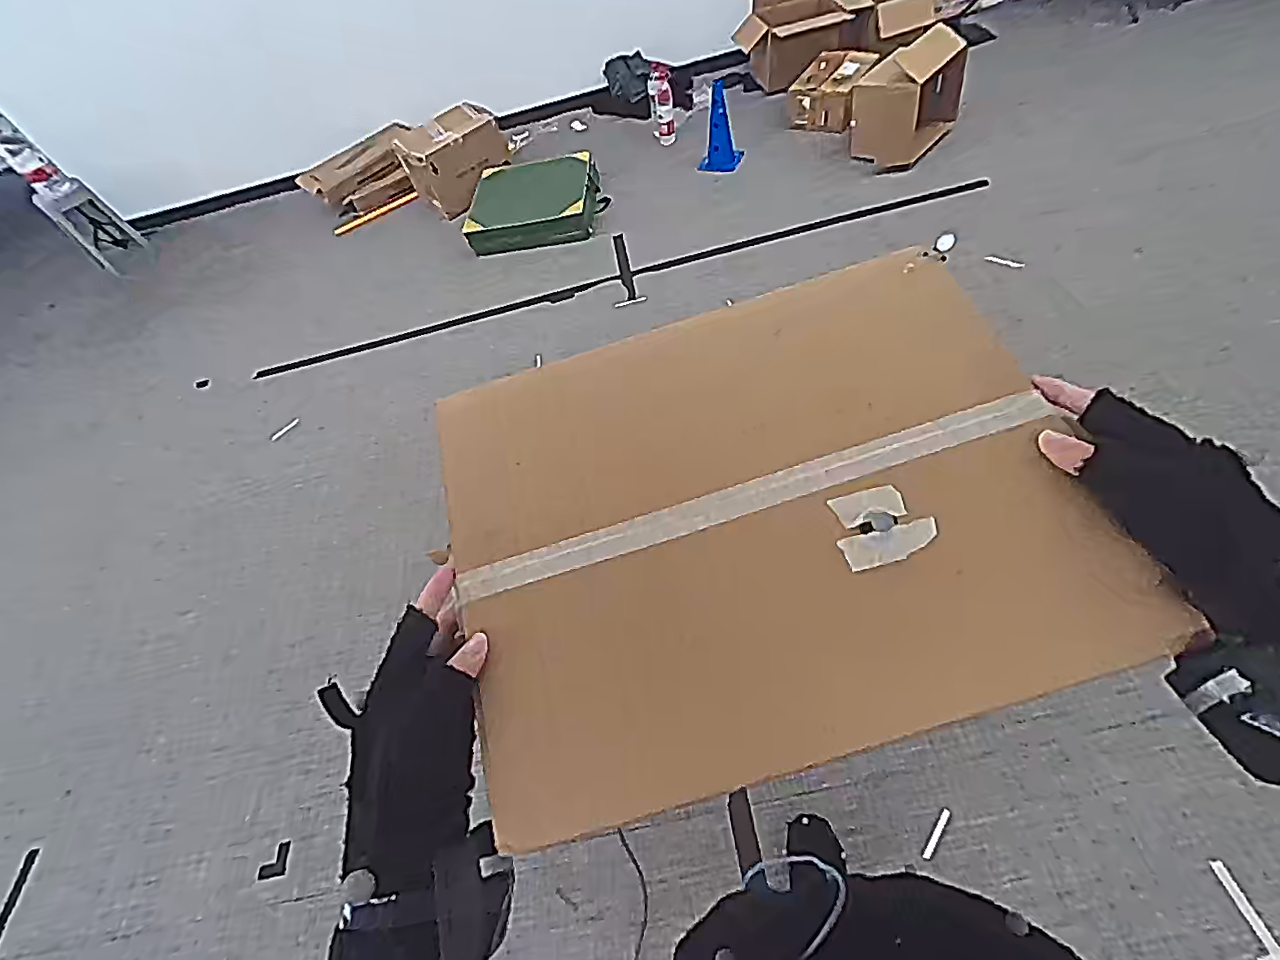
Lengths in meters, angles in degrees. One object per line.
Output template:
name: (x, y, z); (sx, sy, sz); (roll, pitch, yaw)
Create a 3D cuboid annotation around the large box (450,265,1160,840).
large box: (0.093, 0.077, 0.510); (0.408, 0.320, 0.320); (-18, 66, 0)
